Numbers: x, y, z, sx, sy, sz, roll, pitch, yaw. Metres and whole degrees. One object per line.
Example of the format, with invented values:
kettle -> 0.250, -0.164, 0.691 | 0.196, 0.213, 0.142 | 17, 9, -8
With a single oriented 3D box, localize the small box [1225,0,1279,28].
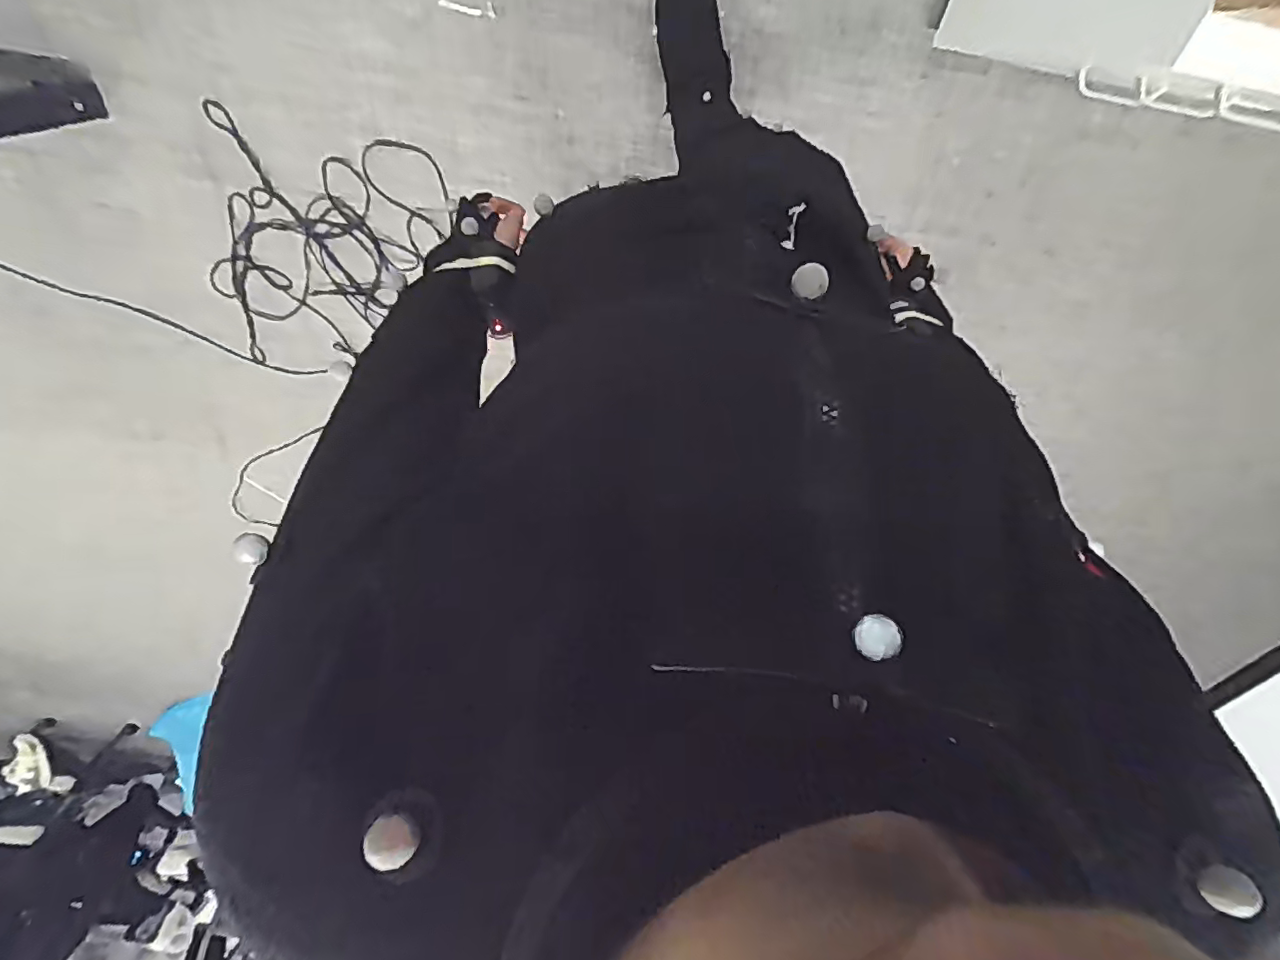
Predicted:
small box -> 0.614, -0.419, 0.382 | 0.179, 0.176, 0.168 | 7, 130, -6
